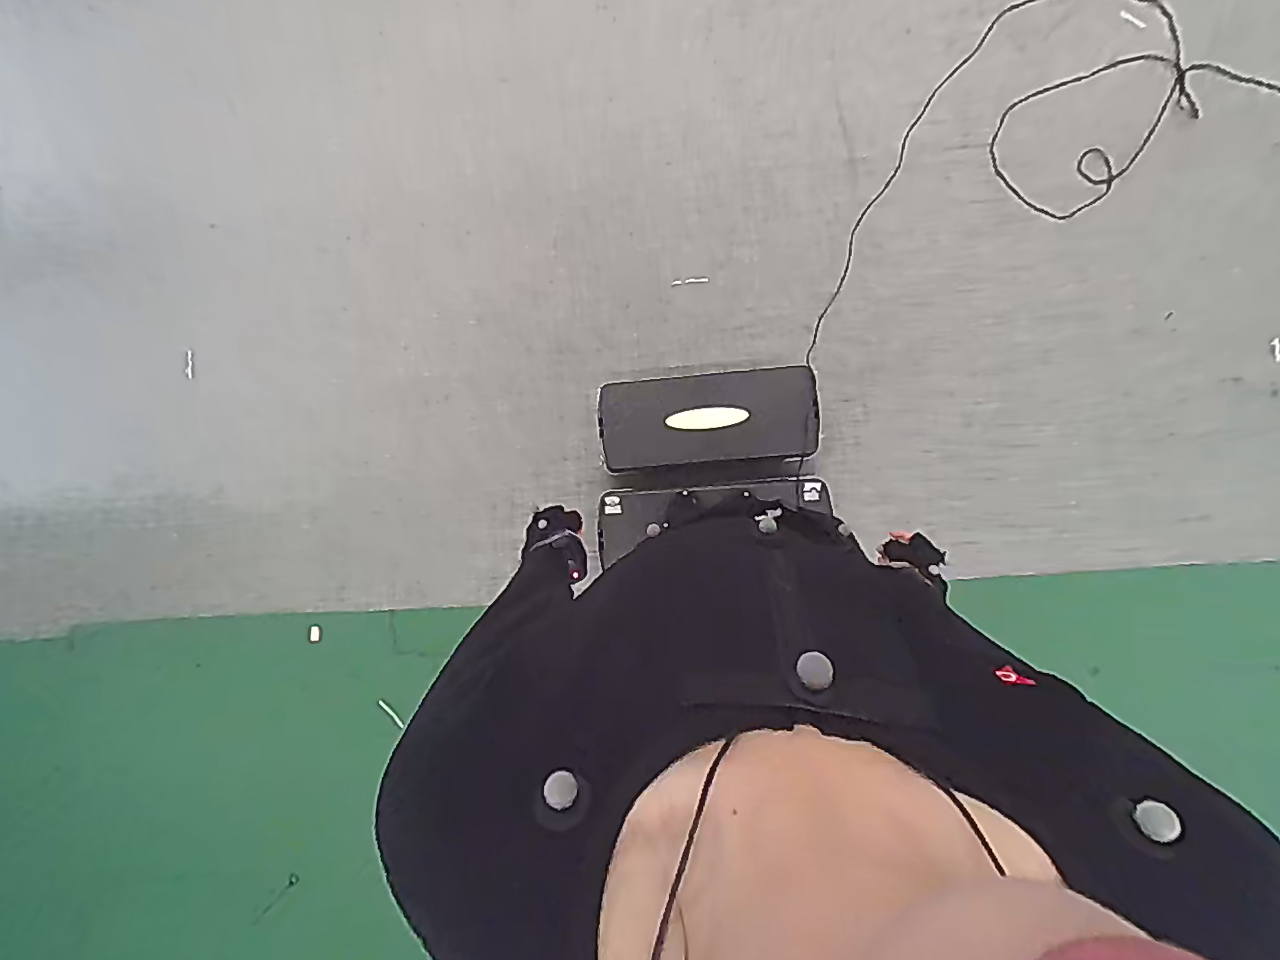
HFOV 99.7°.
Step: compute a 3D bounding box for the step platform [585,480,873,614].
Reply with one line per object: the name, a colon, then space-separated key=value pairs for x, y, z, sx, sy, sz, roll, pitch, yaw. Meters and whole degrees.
step platform: x=0.212 y=0.169 z=1.386 sx=0.684 sy=0.204 sz=0.286 roll=-4 pitch=87 yaw=4
